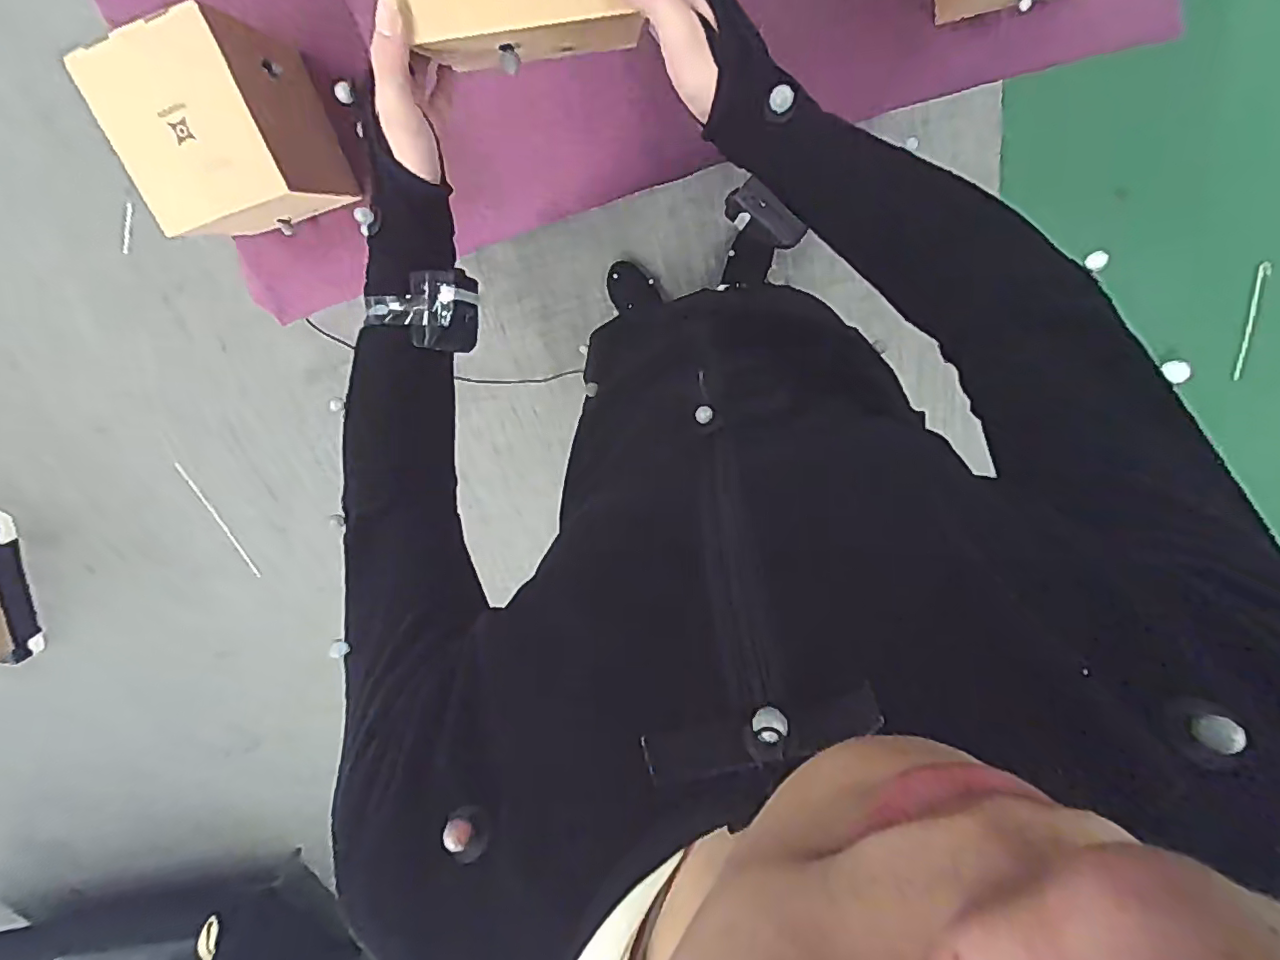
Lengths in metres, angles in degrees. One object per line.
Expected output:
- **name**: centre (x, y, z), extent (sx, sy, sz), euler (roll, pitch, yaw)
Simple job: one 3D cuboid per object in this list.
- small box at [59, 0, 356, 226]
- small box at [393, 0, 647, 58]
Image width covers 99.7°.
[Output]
- **small box**: centre (-0.481, -0.411, 0.636), extent (0.168, 0.176, 0.179), euler (-13, 115, 9)
- **small box**: centre (-0.086, -0.410, 0.370), extent (0.168, 0.176, 0.179), euler (-7, 122, 1)
